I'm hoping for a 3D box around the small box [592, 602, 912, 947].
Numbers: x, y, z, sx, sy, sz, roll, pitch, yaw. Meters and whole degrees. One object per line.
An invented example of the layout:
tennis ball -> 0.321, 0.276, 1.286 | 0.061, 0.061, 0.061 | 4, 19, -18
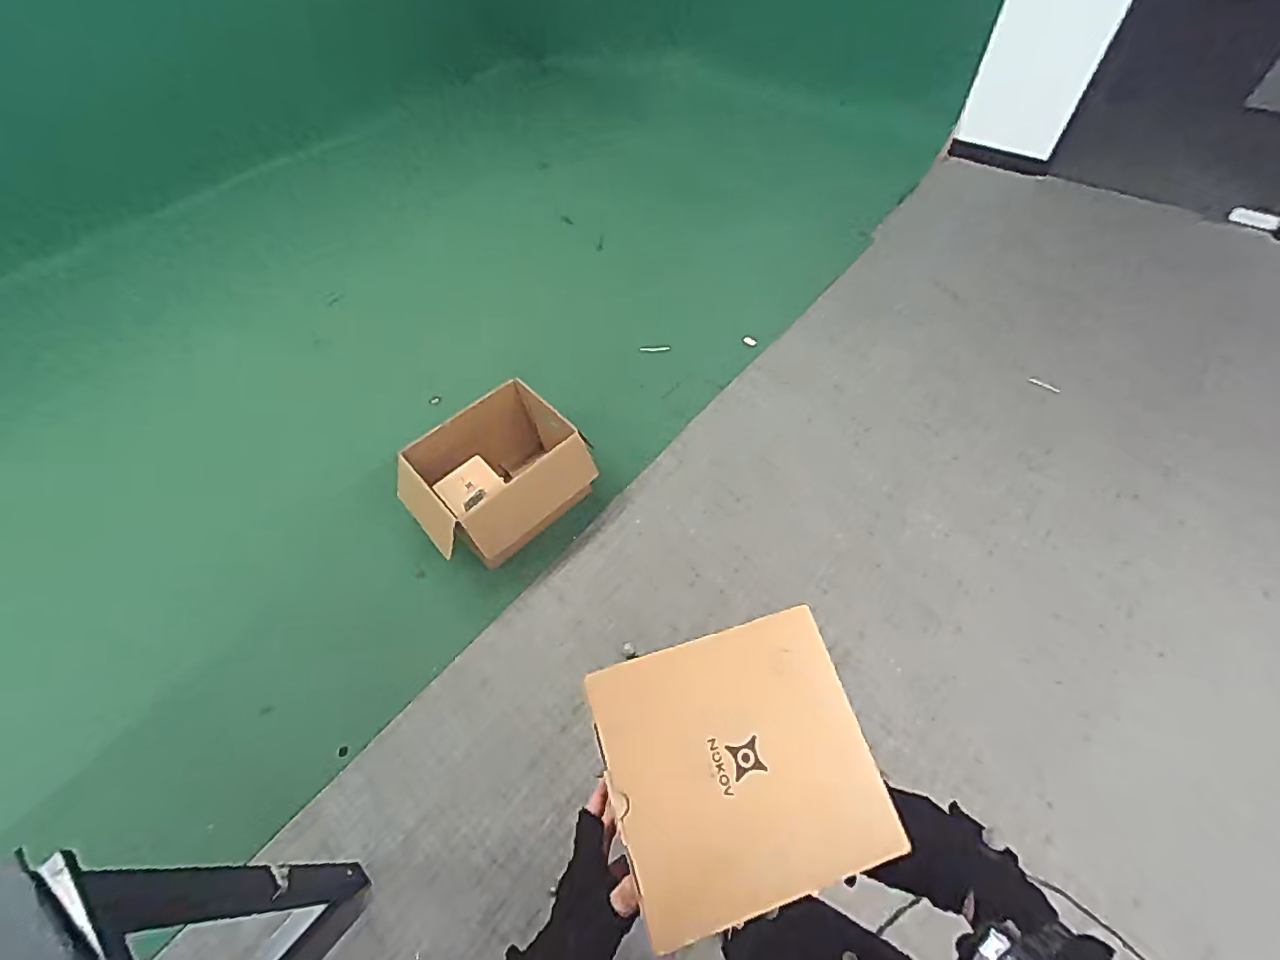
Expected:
small box -> 0.066, 0.210, 0.432 | 0.179, 0.176, 0.168 | -16, 70, -9
